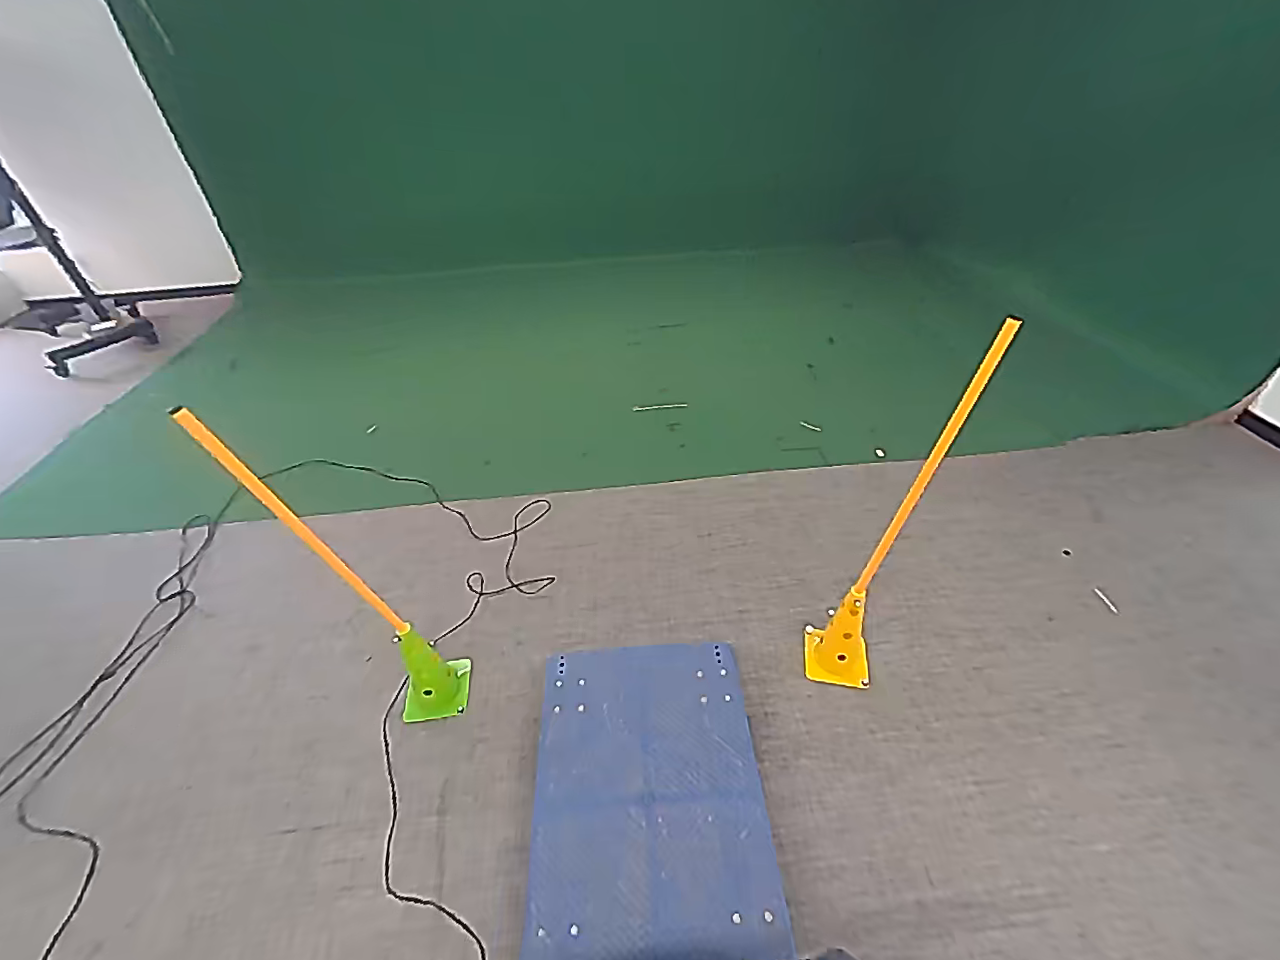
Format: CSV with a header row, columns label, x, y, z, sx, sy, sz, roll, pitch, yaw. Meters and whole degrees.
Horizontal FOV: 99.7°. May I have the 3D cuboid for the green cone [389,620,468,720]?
label,x,y,z,sx,sy,sz,roll,pitch,yaw
green cone,-0.685,0.549,1.669,0.202,0.368,0.200,-9,40,-4
